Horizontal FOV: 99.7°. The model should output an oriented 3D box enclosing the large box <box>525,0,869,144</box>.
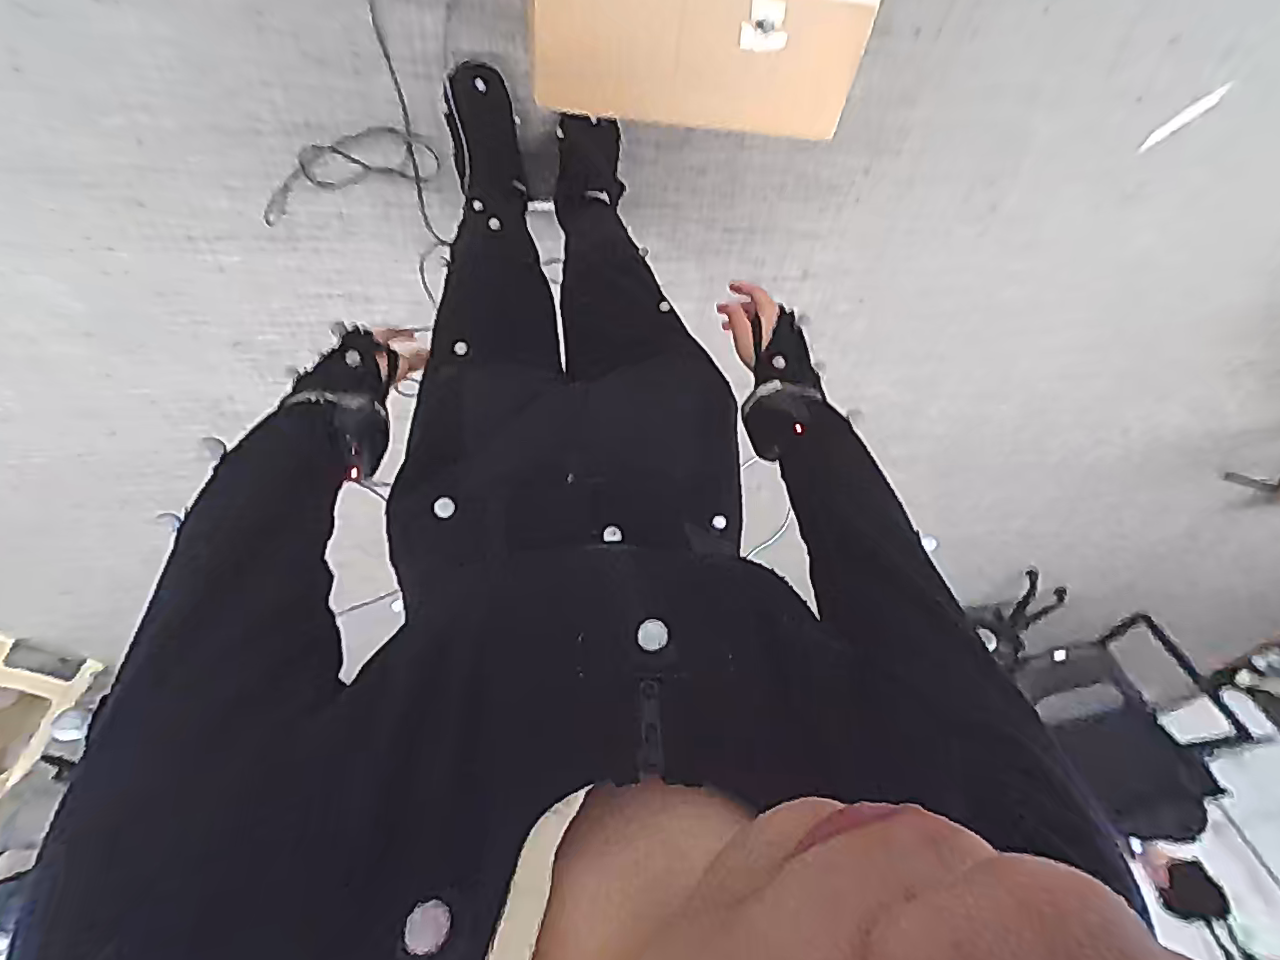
[{"bbox_3d":[0.053,-0.674,0.707,0.408,0.320,0.320,-3,138,-13],"label":"large box"}]
